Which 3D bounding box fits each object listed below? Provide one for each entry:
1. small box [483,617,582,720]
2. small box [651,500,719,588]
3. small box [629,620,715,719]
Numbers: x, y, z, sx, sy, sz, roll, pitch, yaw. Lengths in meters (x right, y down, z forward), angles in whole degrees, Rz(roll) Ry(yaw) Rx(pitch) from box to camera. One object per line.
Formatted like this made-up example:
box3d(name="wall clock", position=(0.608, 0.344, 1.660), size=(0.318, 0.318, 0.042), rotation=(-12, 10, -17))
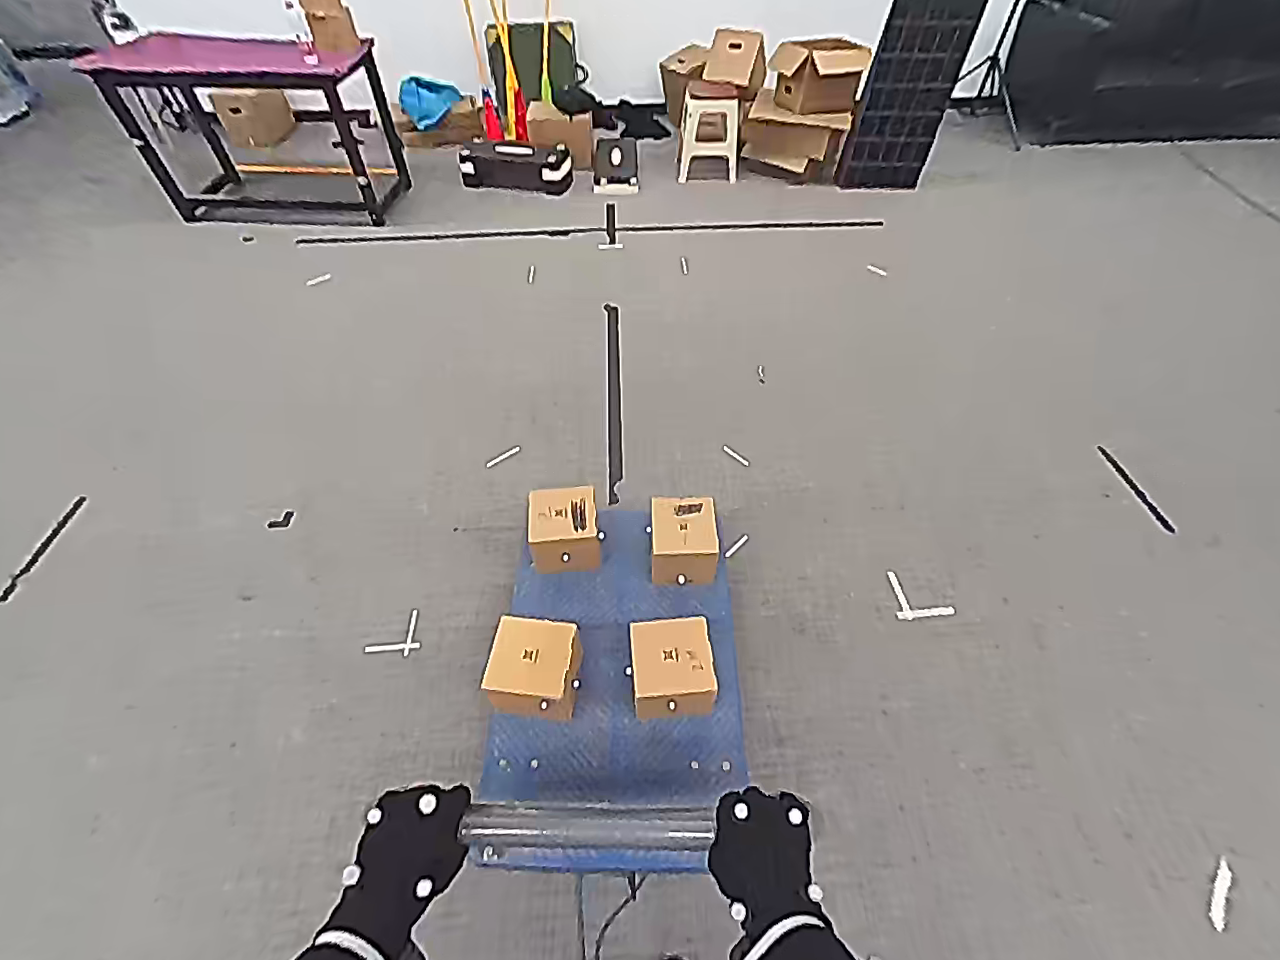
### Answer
box3d(name="small box", position=(-0.238, 0.435, 1.239), size=(0.179, 0.176, 0.168), rotation=(6, 50, 3))
box3d(name="small box", position=(0.114, 0.172, 1.454), size=(0.168, 0.176, 0.179), rotation=(-1, 52, 0))
box3d(name="small box", position=(0.069, 0.437, 1.236), size=(0.179, 0.176, 0.168), rotation=(-3, 51, -3))
